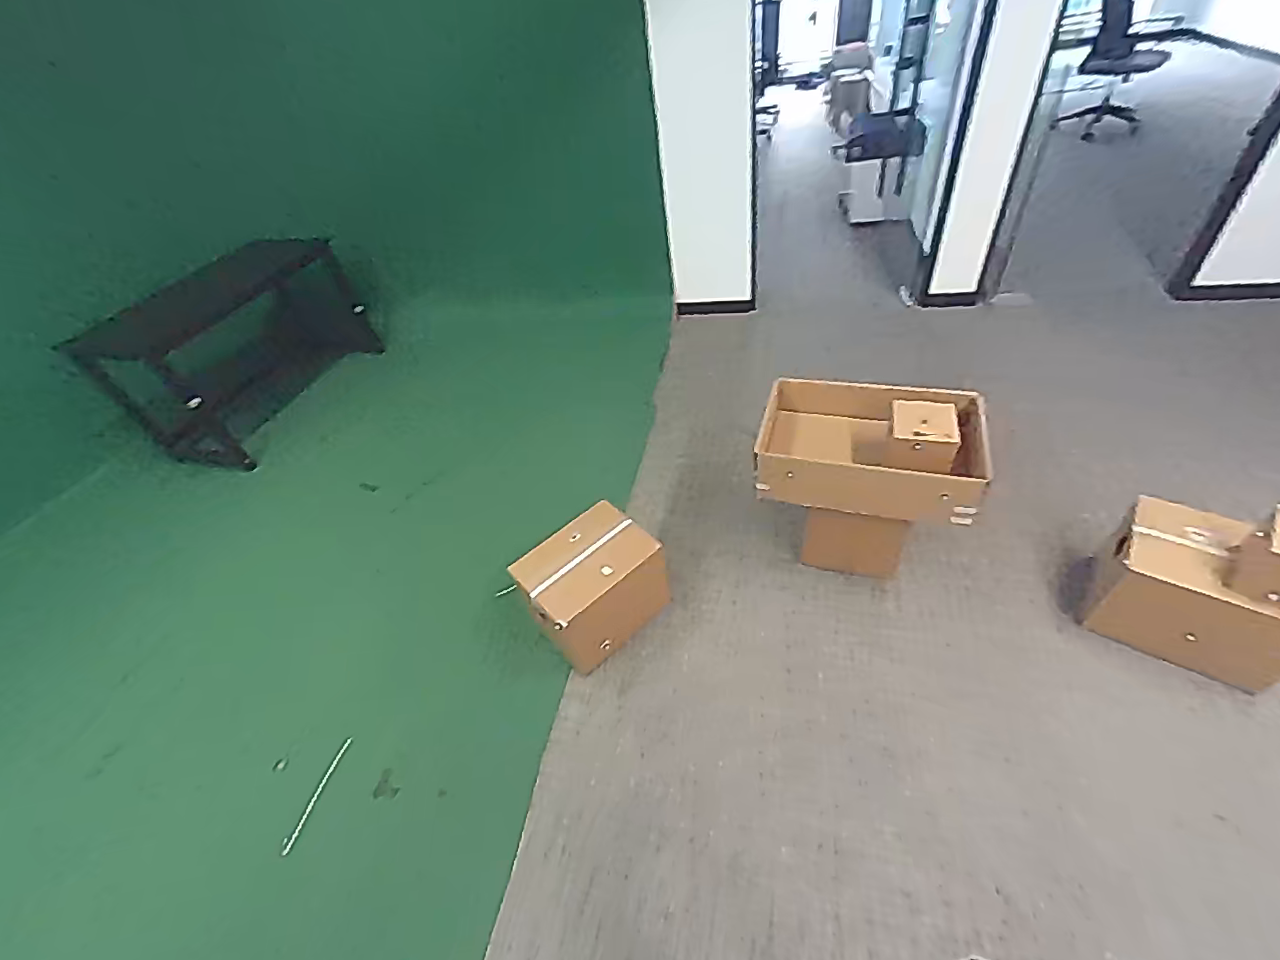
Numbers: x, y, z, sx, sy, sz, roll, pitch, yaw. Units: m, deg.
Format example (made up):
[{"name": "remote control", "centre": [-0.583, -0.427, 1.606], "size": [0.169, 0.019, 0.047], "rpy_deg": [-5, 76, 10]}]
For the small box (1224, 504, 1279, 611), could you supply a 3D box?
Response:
[{"name": "small box", "centre": [1.566, 0.197, 1.297], "size": [0.168, 0.176, 0.179], "rpy_deg": [28, 58, 34]}]

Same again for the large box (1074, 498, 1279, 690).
[{"name": "large box", "centre": [1.552, 0.315, 1.533], "size": [0.408, 0.320, 0.320], "rpy_deg": [22, 52, 30]}]
